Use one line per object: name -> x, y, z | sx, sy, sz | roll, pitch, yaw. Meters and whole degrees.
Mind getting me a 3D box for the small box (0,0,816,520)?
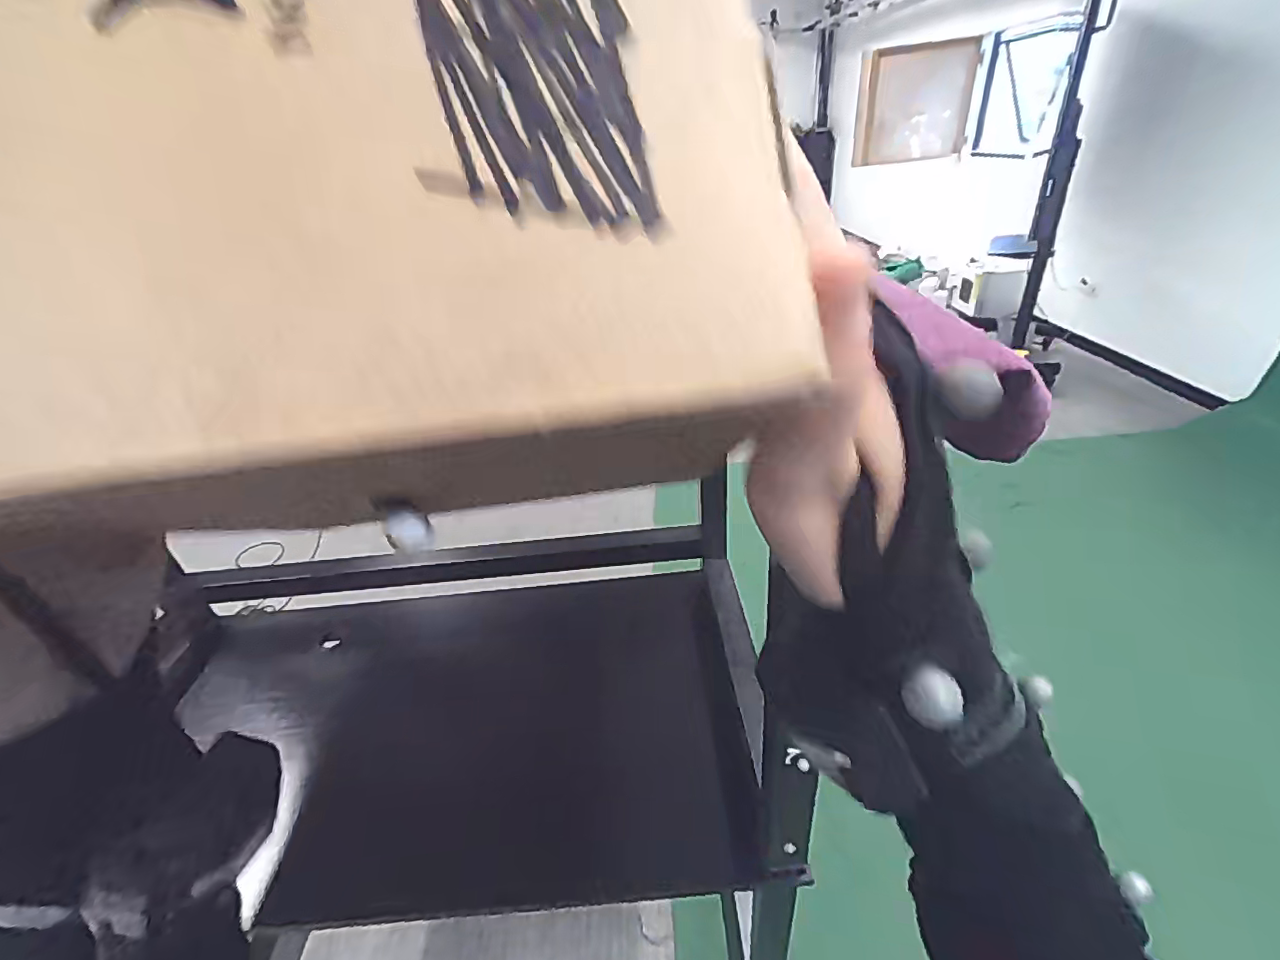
small box -> -0.068, -0.078, 0.168 | 0.179, 0.168, 0.176 | -7, -5, -1
